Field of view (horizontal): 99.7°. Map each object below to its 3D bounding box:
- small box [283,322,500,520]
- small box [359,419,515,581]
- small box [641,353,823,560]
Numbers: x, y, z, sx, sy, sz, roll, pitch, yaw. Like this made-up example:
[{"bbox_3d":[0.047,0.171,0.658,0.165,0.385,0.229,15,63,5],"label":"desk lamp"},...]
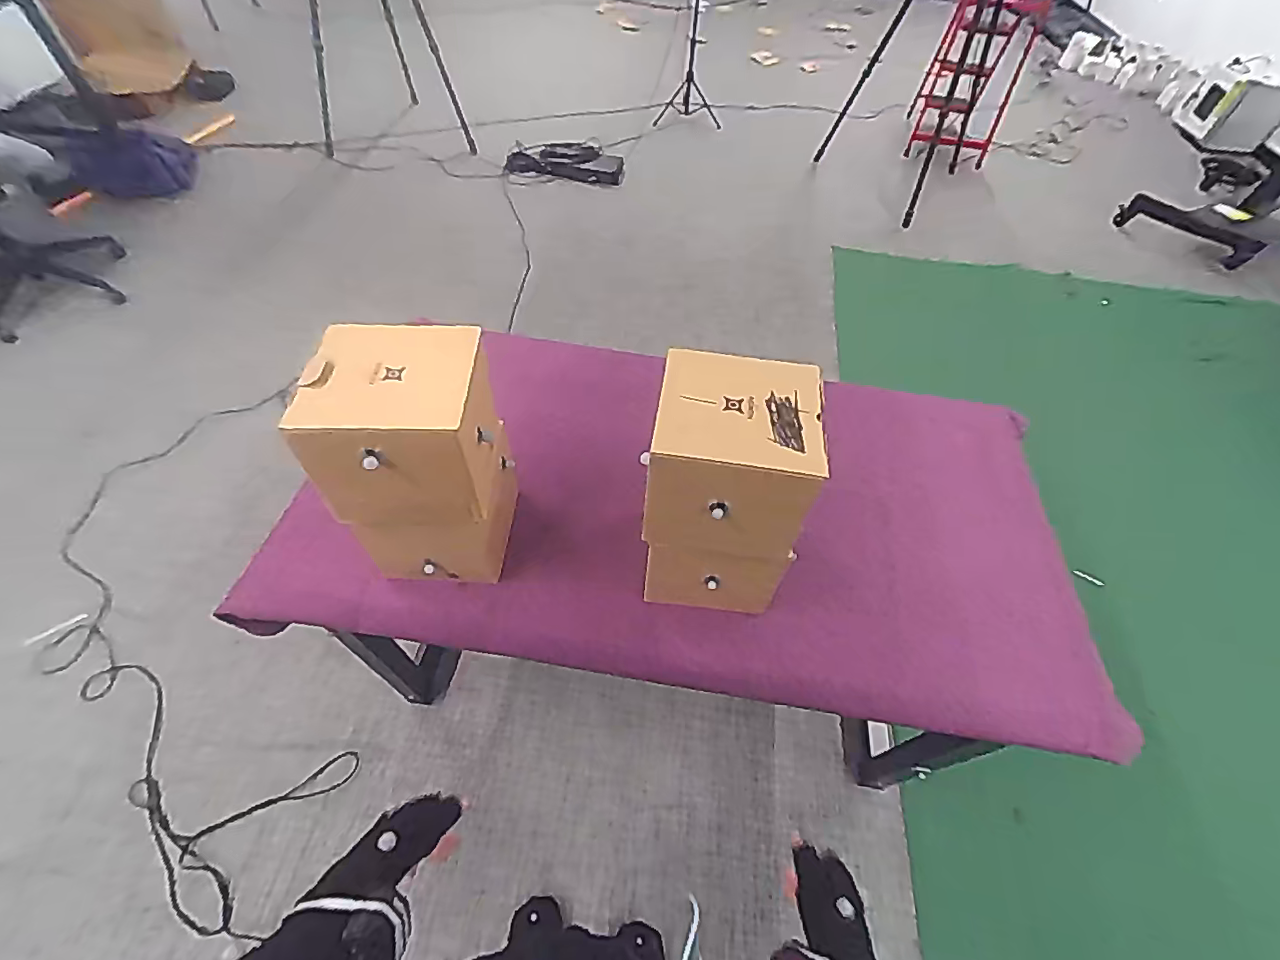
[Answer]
[{"bbox_3d":[-0.269,-0.064,0.642,0.179,0.176,0.168,1,53,-4],"label":"small box"},{"bbox_3d":[-0.281,0.024,0.778,0.168,0.176,0.179,4,53,-1],"label":"small box"},{"bbox_3d":[0.102,-0.022,0.640,0.179,0.176,0.168,9,52,4],"label":"small box"}]
